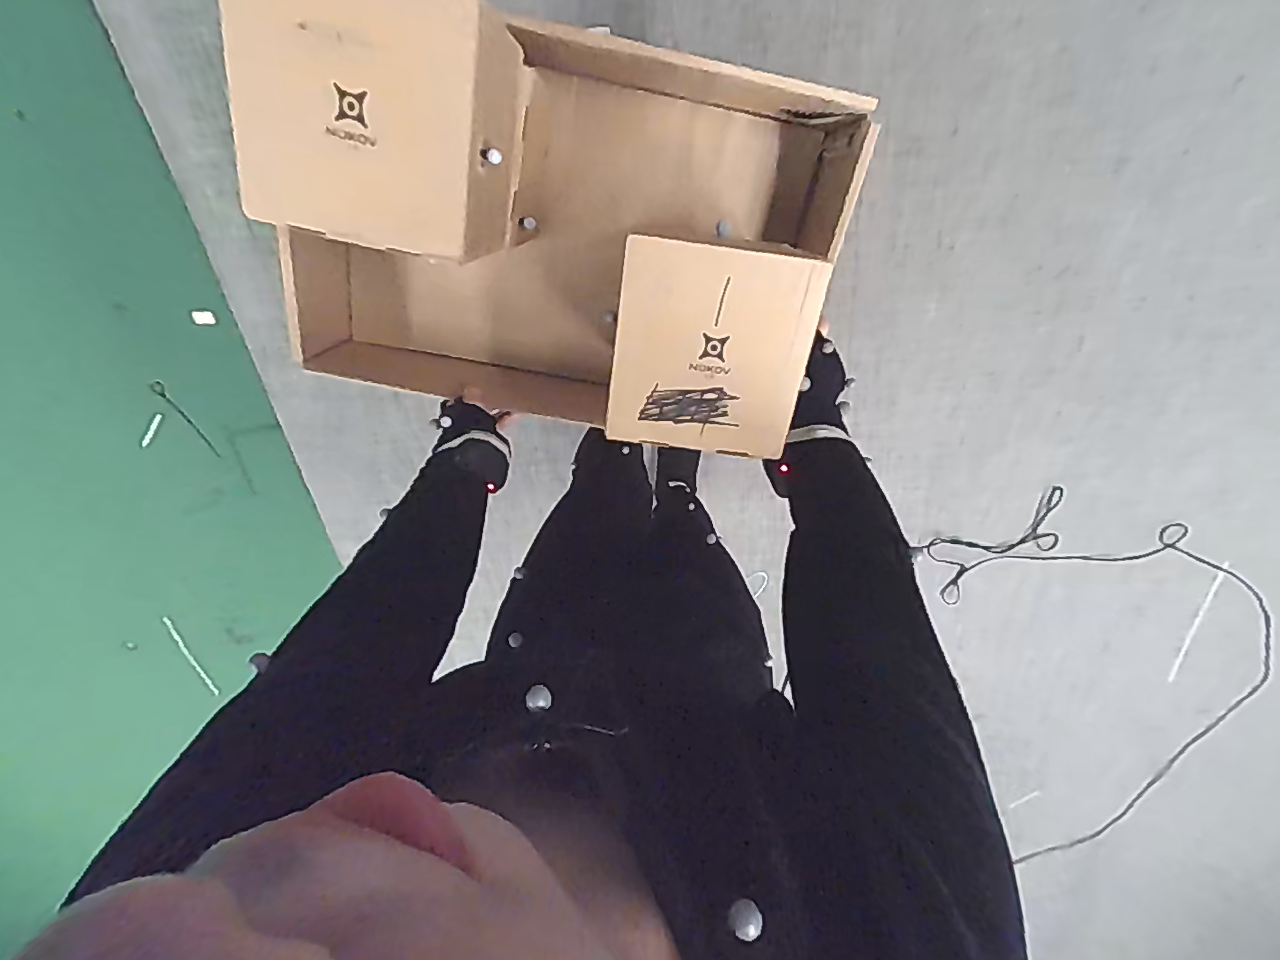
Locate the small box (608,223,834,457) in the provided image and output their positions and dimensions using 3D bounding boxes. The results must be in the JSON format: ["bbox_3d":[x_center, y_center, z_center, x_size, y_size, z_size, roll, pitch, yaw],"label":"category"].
[{"bbox_3d":[0.064,-0.144,0.533,0.168,0.176,0.179,7,117,-4],"label":"small box"}]

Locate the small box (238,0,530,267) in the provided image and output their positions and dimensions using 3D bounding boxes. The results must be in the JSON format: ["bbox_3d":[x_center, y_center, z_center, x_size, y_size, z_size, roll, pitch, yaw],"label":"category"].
[{"bbox_3d":[-0.195,-0.298,0.455,0.168,0.176,0.179,11,117,-7],"label":"small box"}]
